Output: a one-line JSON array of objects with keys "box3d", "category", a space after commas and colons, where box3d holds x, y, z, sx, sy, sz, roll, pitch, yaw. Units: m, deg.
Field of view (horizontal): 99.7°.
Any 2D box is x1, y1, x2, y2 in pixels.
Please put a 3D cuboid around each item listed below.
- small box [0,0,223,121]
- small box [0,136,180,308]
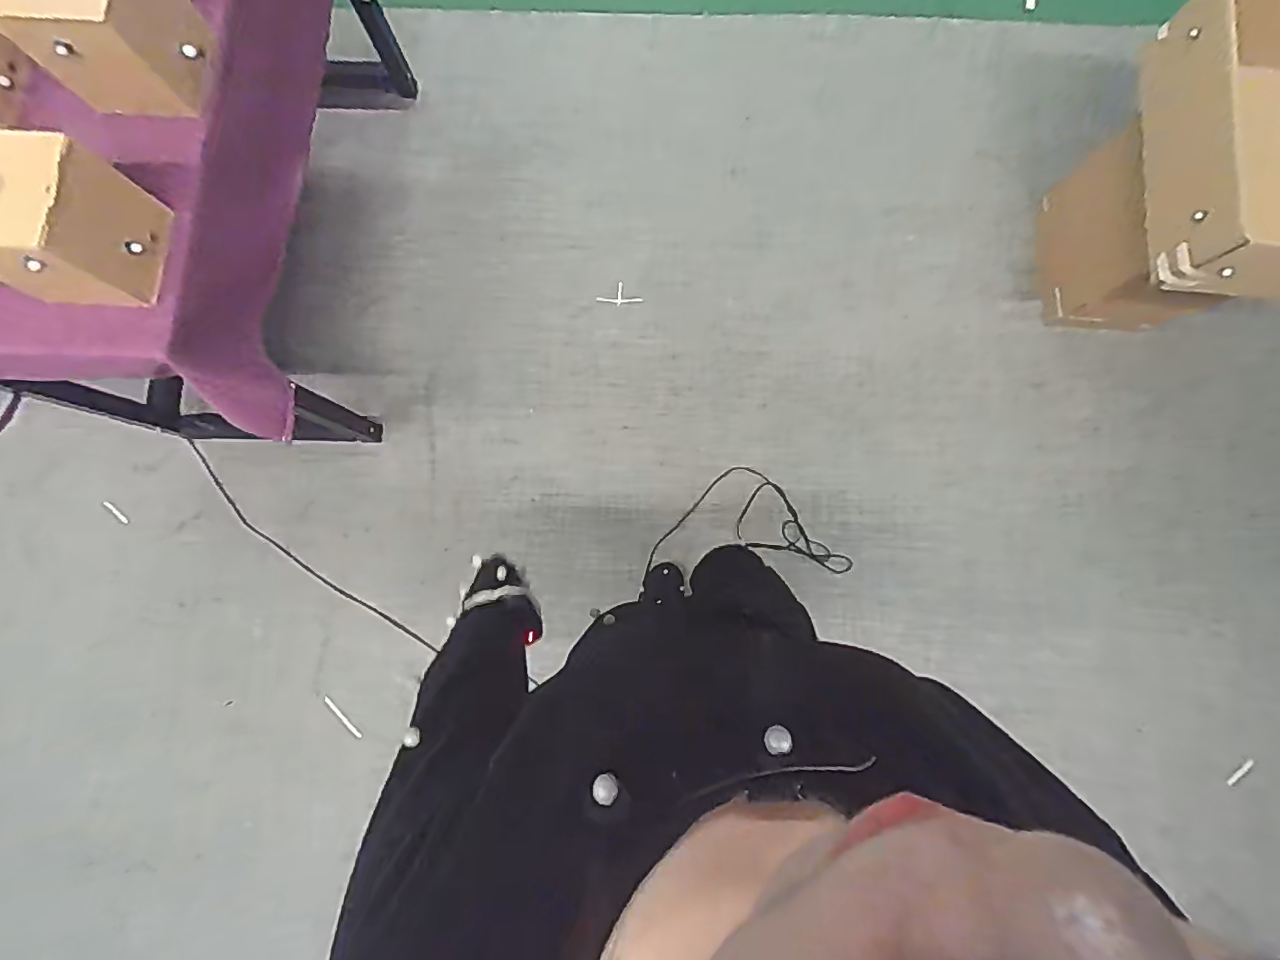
[{"box3d": [-0.807, -0.695, 0.839, 0.179, 0.176, 0.168, 4, 82, 1], "category": "small box"}, {"box3d": [-0.842, -0.368, 0.793, 0.179, 0.176, 0.168, 3, 81, 1], "category": "small box"}]
